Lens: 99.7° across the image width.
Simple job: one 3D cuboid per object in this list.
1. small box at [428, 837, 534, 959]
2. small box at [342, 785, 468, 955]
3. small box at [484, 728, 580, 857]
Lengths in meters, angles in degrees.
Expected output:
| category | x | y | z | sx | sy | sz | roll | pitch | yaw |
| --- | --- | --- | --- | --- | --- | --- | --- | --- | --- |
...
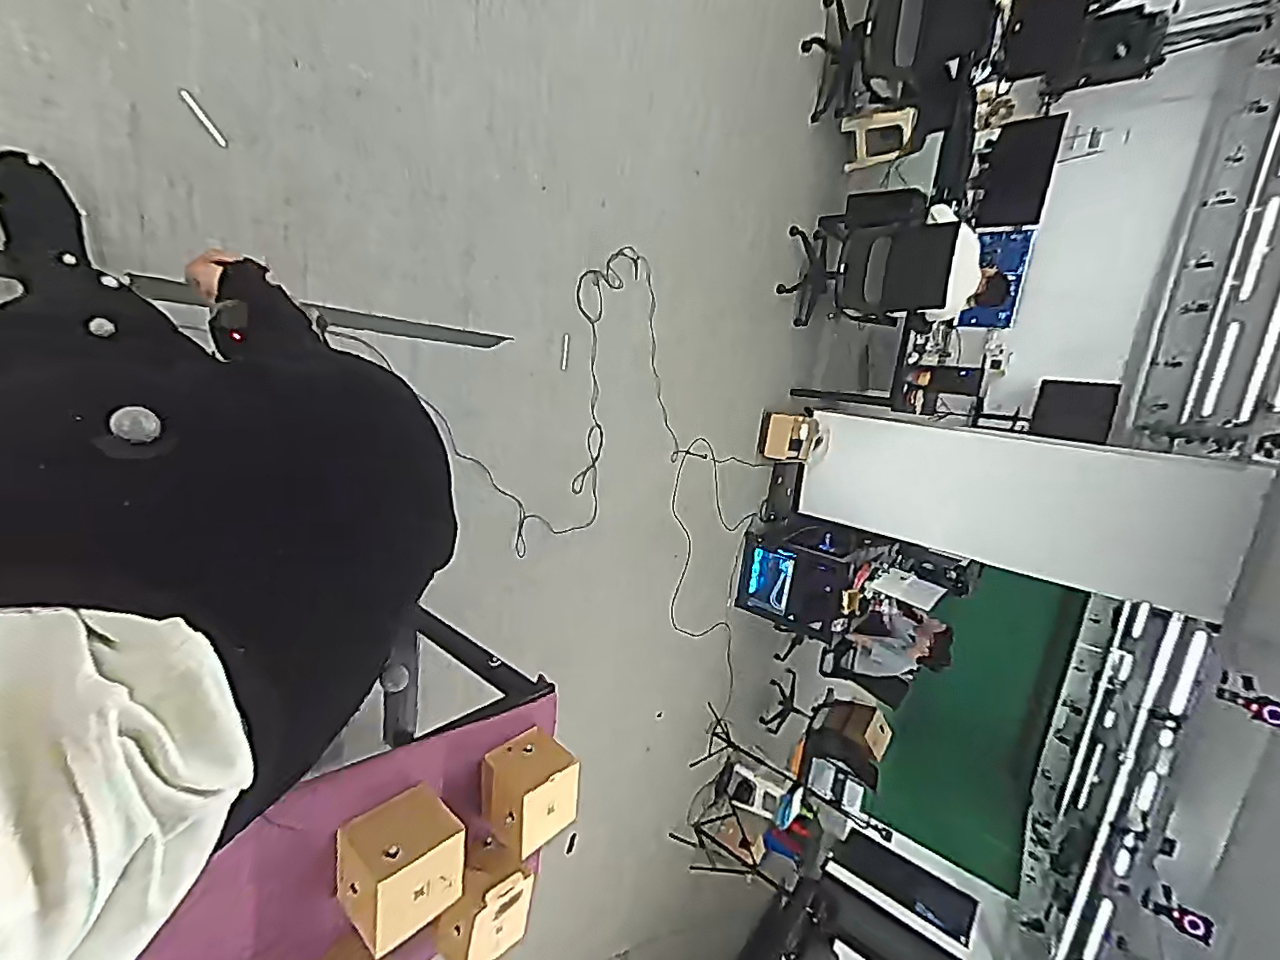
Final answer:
| category | x | y | z | sx | sy | sz | roll | pitch | yaw |
| --- | --- | --- | --- | --- | --- | --- | --- | --- | --- |
| small box | -0.375 | 0.983 | 1.268 | 0.168 | 0.176 | 0.179 | 2 | 100 | -52 |
| small box | -0.467 | 0.754 | 1.068 | 0.179 | 0.176 | 0.168 | -7 | 108 | -51 |
| small box | -0.266 | 0.751 | 1.321 | 0.168 | 0.176 | 0.179 | -12 | 111 | -48 |
